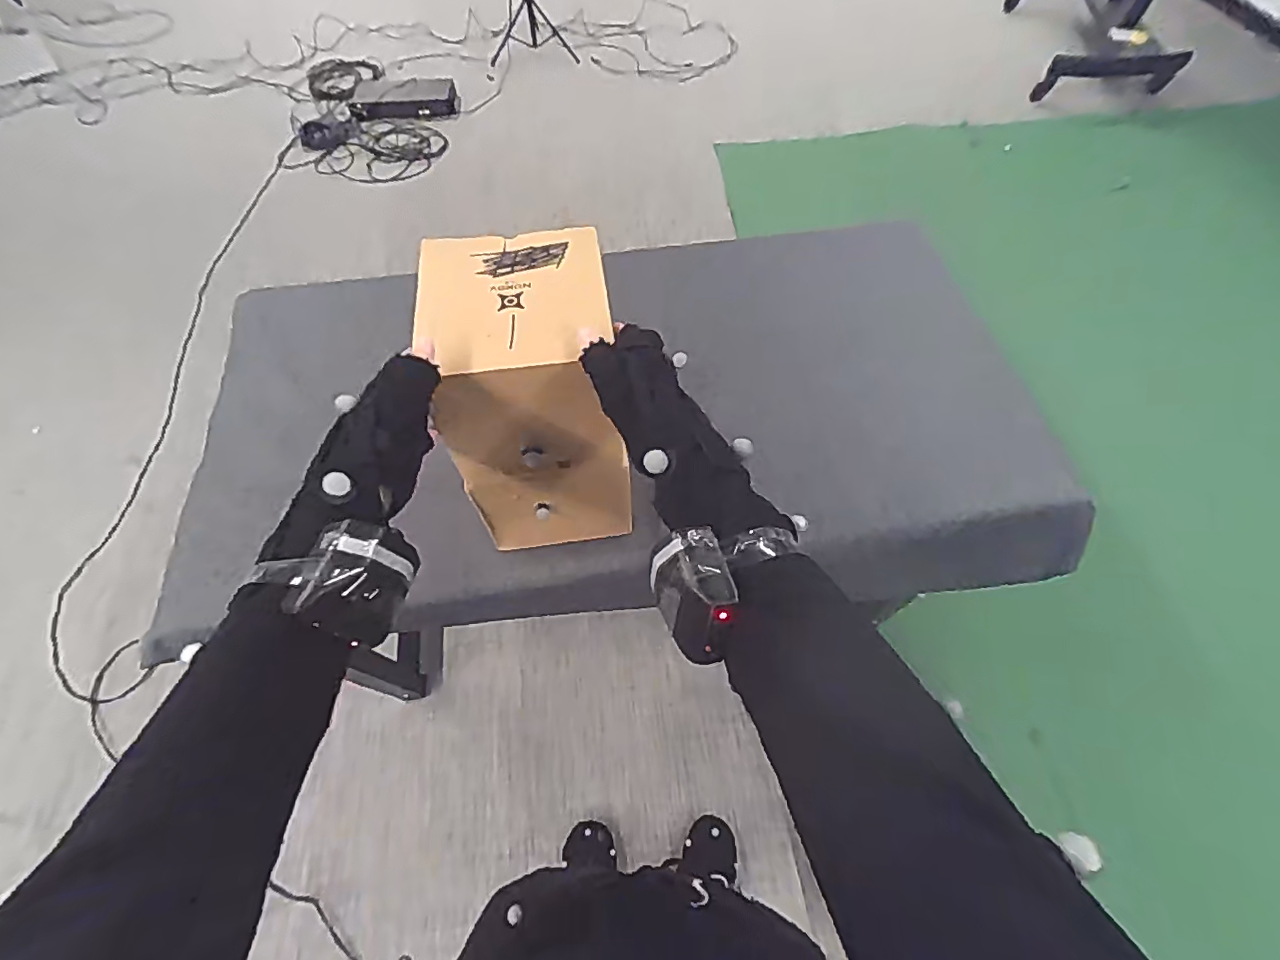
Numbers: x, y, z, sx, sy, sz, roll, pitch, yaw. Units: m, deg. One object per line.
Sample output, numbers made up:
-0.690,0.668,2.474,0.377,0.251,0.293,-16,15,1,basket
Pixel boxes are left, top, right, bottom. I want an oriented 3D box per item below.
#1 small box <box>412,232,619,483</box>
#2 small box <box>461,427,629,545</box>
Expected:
-0.110,-0.118,0.542,0.168,0.176,0.179,-6,60,-4,small box
-0.111,-0.029,0.681,0.179,0.176,0.168,-7,59,-4,small box
